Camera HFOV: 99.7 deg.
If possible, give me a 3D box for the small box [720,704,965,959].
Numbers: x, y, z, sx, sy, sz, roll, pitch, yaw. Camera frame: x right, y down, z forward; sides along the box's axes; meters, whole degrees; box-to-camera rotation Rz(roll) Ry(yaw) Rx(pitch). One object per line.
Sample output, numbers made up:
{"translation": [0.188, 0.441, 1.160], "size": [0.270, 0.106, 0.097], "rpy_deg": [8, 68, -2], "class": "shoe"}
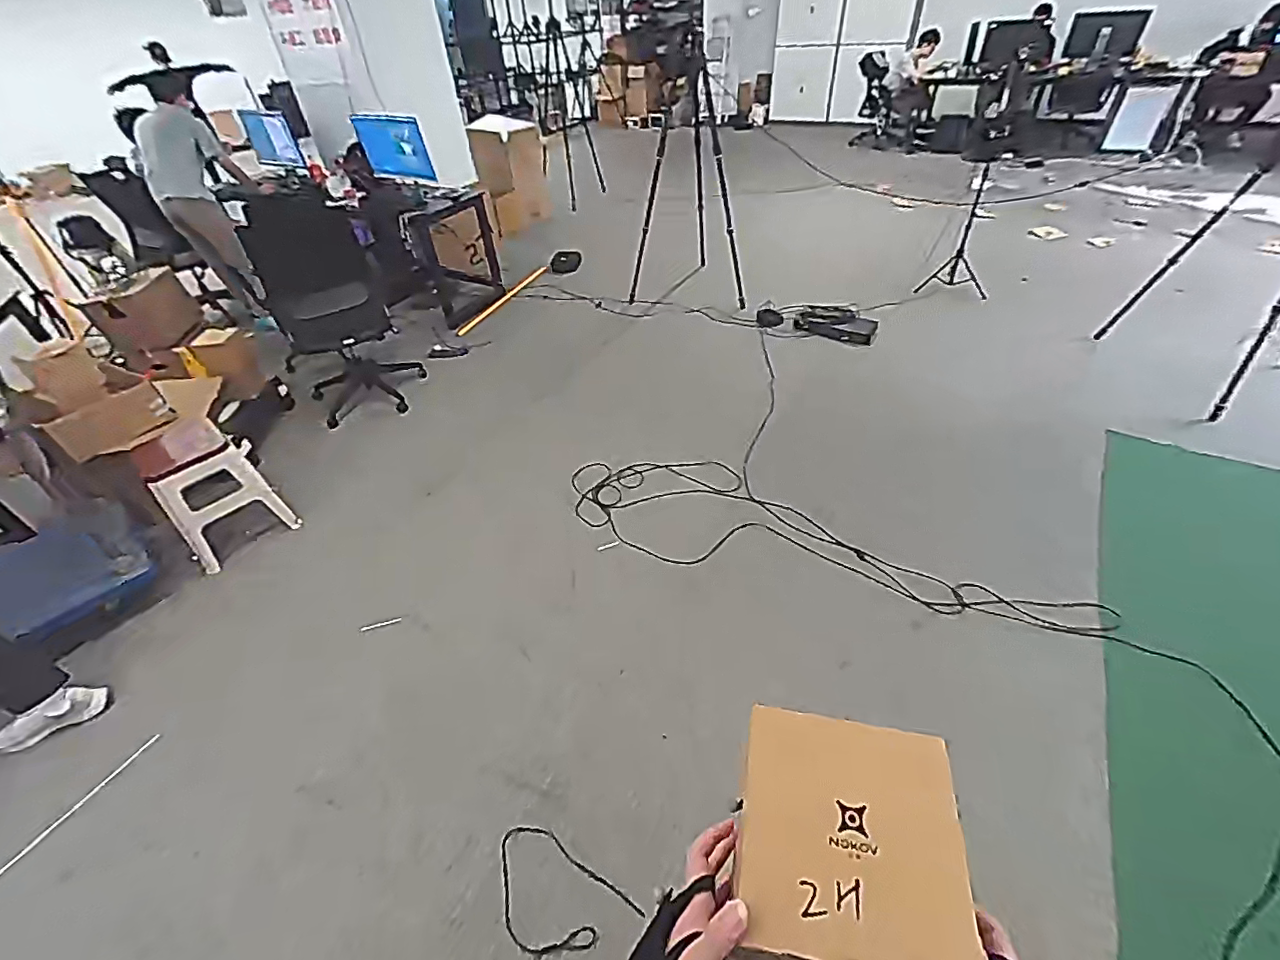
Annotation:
{"translation": [0.166, 0.338, 0.493], "size": [0.168, 0.176, 0.179], "rpy_deg": [7, 46, 11], "class": "small box"}
